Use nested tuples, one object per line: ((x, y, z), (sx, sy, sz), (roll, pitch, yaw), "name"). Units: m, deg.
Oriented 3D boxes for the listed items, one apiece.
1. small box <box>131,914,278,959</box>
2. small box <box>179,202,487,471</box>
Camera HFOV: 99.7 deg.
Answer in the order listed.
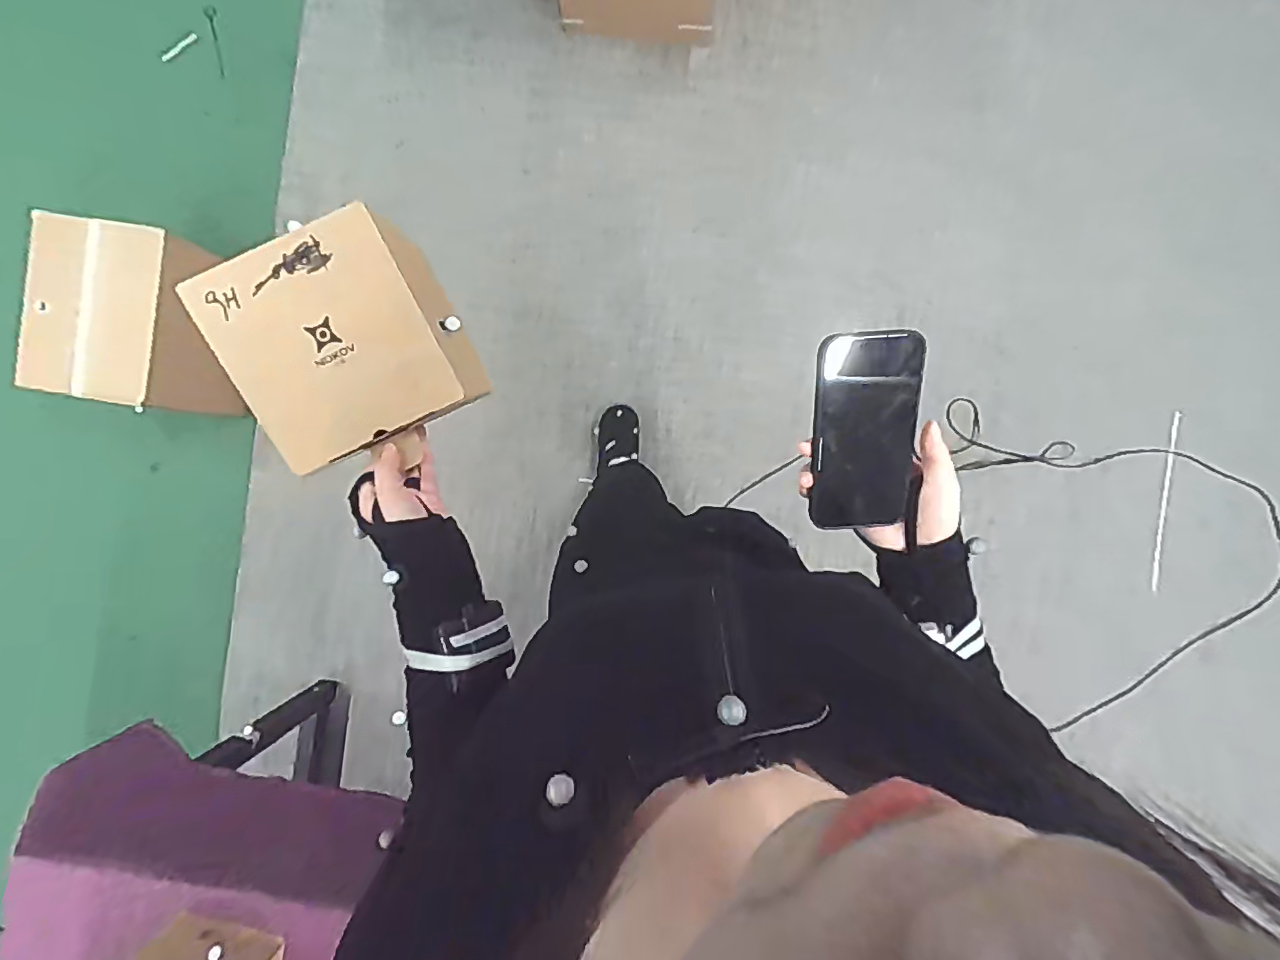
((-0.629, 0.748, 0.725), (0.168, 0.176, 0.179), (13, 91, 2), "small box")
((-0.268, -0.133, 0.528), (0.168, 0.176, 0.179), (-25, 104, -1), "small box")
